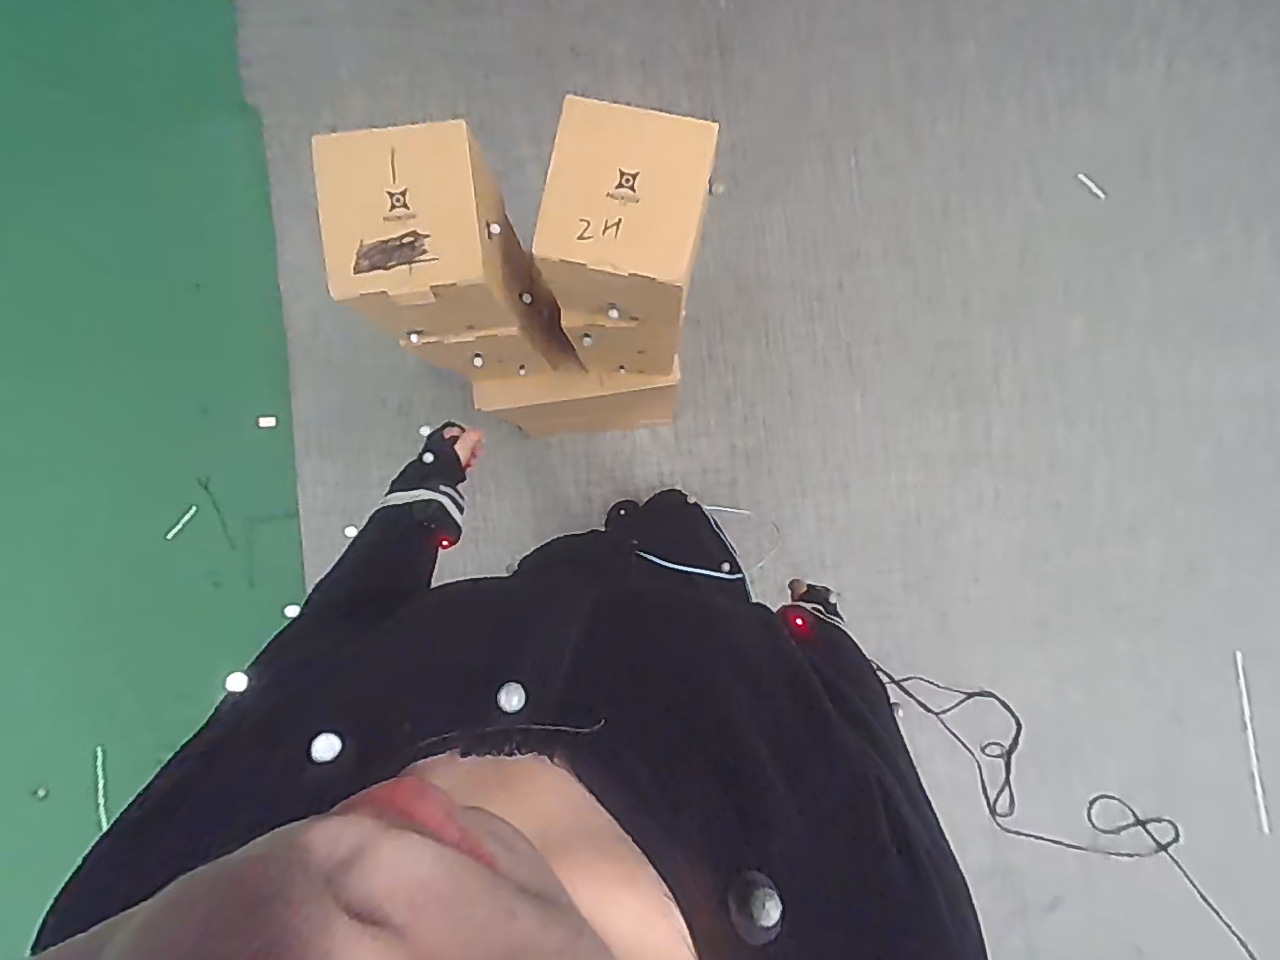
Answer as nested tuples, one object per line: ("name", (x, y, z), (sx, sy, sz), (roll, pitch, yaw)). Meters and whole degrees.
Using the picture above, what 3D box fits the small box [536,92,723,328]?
("small box", (-0.009, -0.301, 0.638), (0.168, 0.176, 0.179), (12, 90, 2))

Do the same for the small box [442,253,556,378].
("small box", (-0.250, -0.286, 0.976), (0.168, 0.176, 0.179), (-5, 89, -1))

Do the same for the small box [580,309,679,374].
("small box", (-0.015, -0.294, 0.968), (0.168, 0.176, 0.179), (0, 90, 2))

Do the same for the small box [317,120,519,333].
("small box", (-0.250, -0.284, 0.648), (0.168, 0.176, 0.179), (-7, 89, -1))
